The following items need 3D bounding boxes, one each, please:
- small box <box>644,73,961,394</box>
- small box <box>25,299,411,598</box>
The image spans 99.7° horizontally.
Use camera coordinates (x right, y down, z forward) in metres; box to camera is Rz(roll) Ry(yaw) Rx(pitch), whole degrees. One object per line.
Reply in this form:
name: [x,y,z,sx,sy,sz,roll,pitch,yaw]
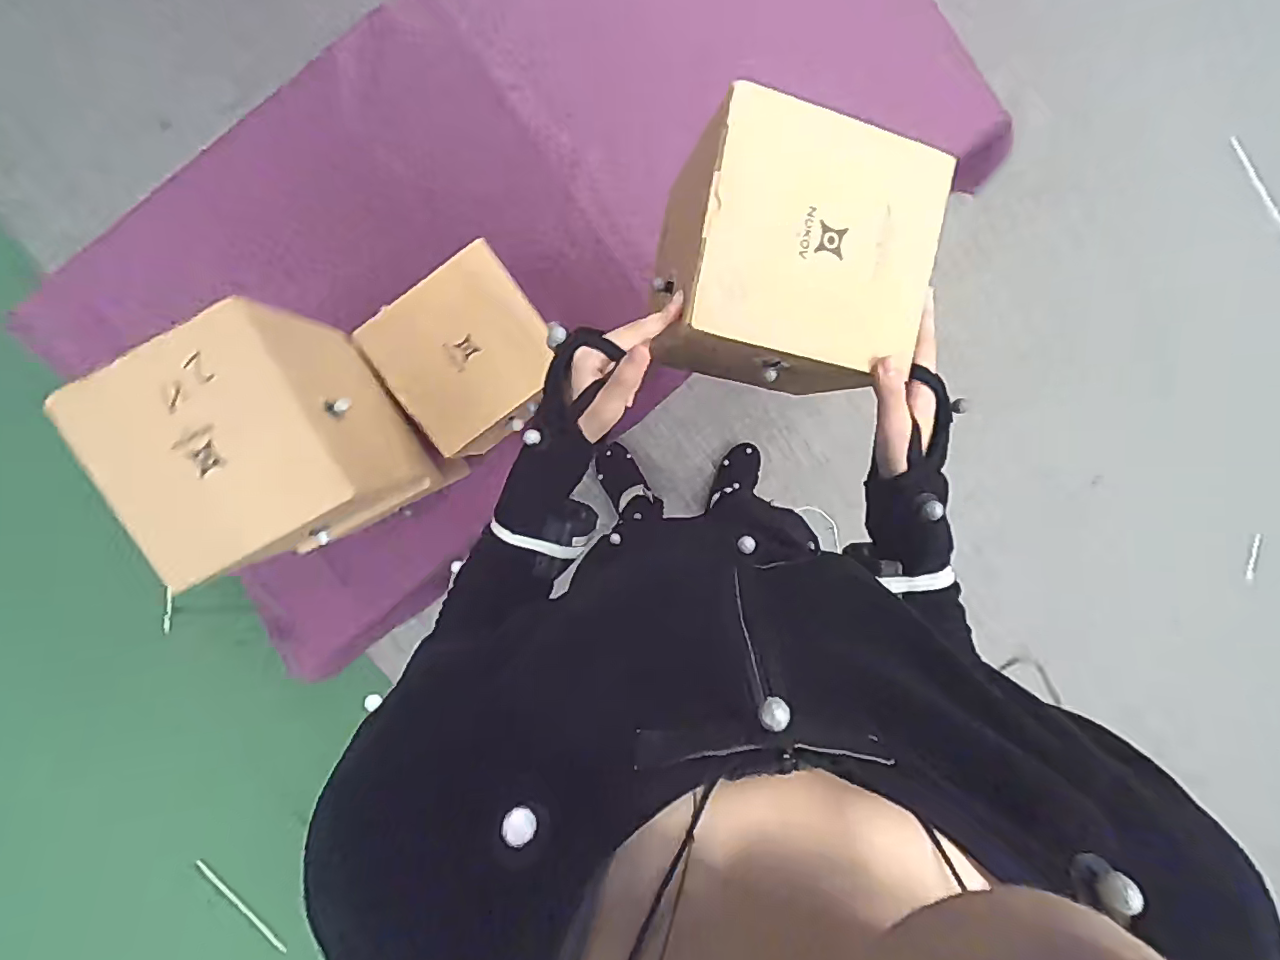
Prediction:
small box: [0.114,-0.172,0.446,0.179,0.176,0.168,12,91,-14]
small box: [-0.339,-0.030,0.480,0.168,0.176,0.179,-29,96,-1]
